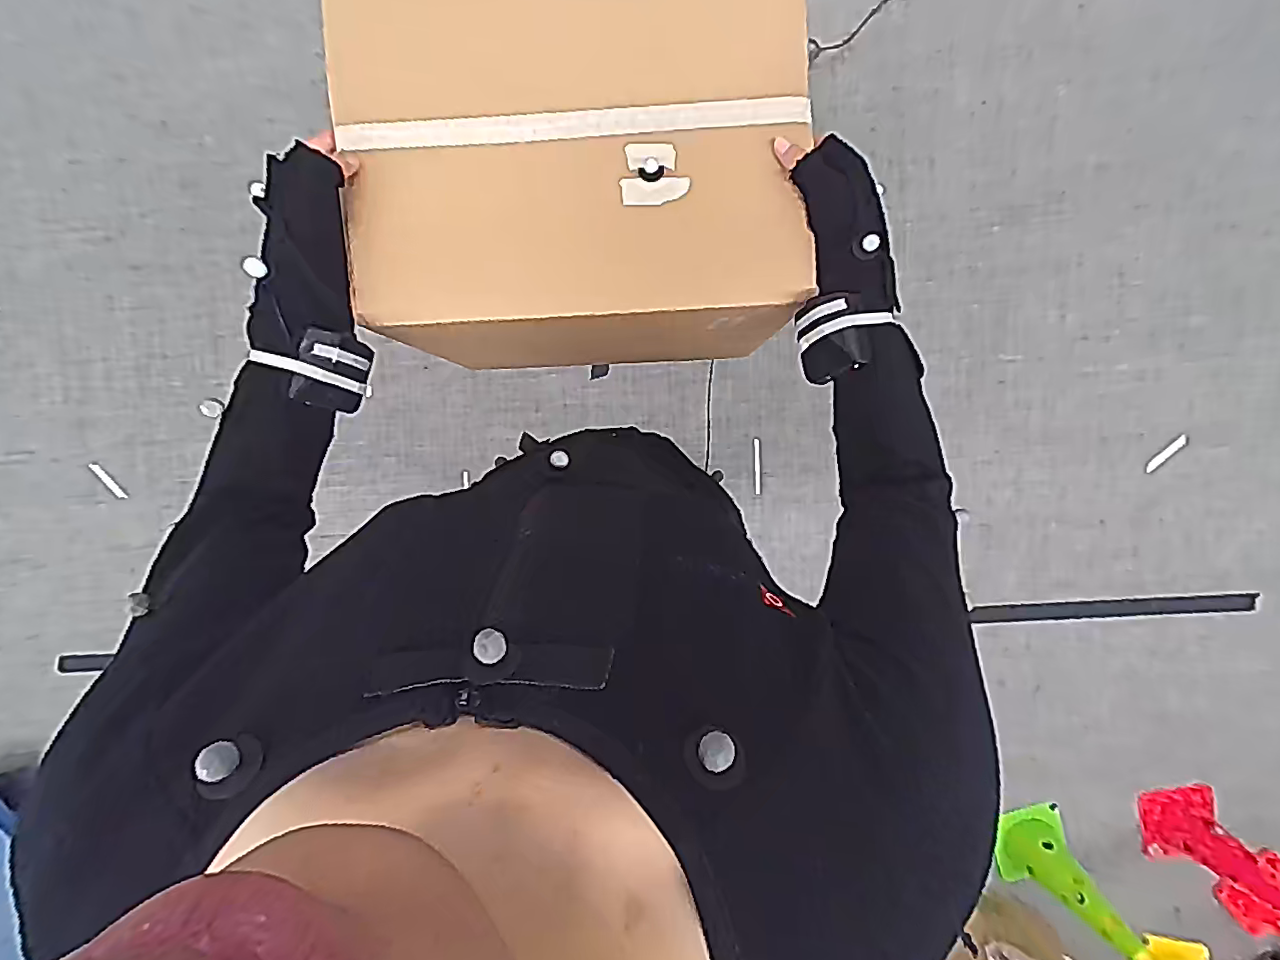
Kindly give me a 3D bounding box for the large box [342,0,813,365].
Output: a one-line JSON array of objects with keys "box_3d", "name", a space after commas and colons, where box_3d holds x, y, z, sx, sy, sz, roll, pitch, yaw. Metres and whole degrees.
[{"box_3d": [-0.054, -0.319, 0.618, 0.408, 0.320, 0.320, -3, 94, 1], "name": "large box"}]
